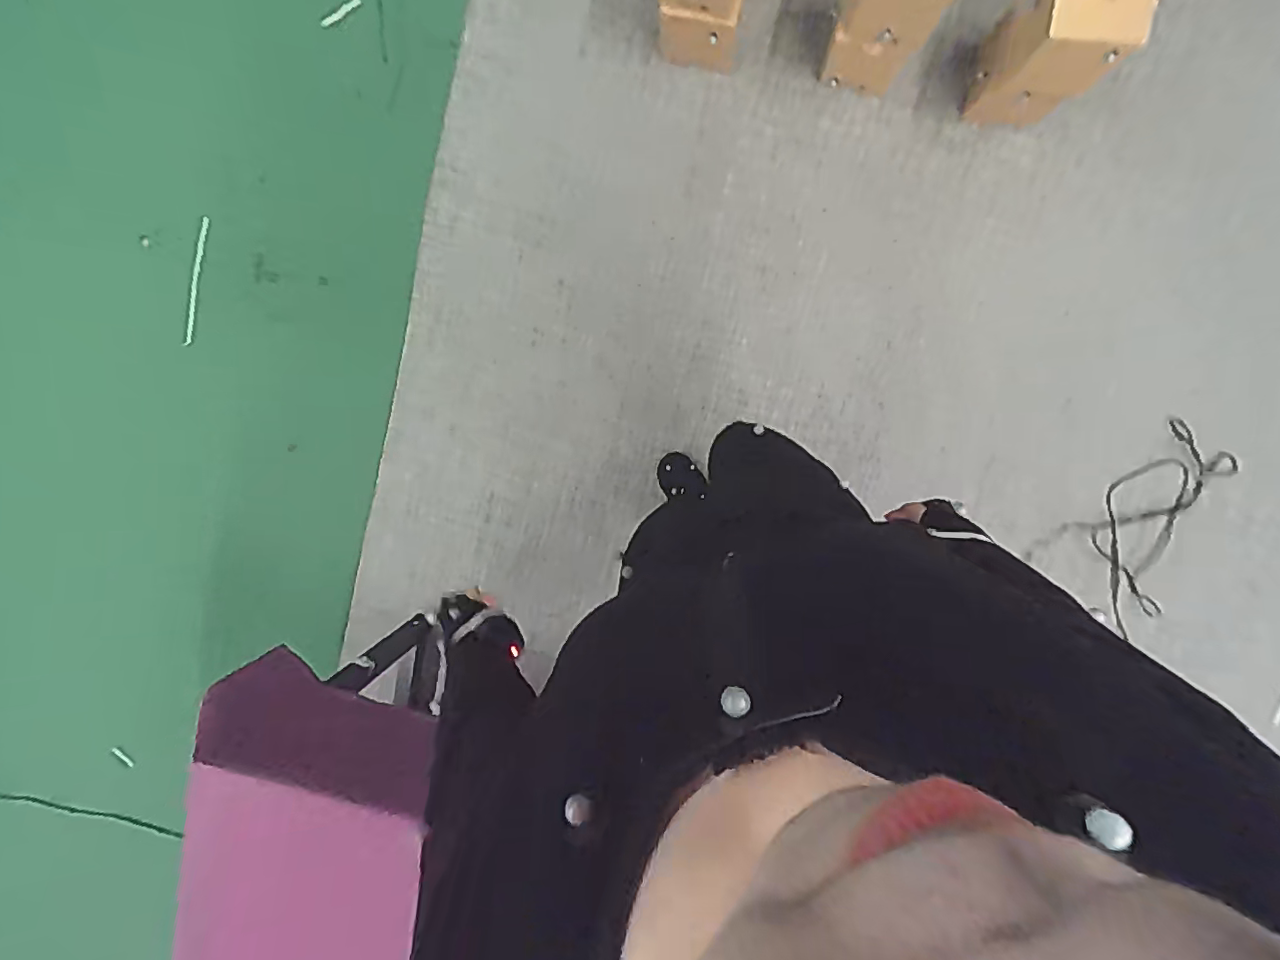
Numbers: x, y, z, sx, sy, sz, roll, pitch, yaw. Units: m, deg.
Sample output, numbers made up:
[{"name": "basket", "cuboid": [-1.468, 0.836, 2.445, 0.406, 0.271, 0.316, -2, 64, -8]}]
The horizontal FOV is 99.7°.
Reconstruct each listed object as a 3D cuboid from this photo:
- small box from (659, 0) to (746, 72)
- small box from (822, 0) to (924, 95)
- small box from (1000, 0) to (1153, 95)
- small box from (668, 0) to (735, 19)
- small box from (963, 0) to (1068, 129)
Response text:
[{"name": "small box", "cuboid": [0.152, -1.111, 1.276, 0.179, 0.176, 0.168, 14, 98, 4]}, {"name": "small box", "cuboid": [0.532, -1.032, 1.243, 0.168, 0.176, 0.179, 15, 98, 4]}, {"name": "small box", "cuboid": [0.851, -0.892, 1.062, 0.179, 0.176, 0.168, 7, 98, 5]}, {"name": "small box", "cuboid": [0.137, -1.109, 1.112, 0.168, 0.176, 0.179, 18, 99, 3]}, {"name": "small box", "cuboid": [0.869, -0.928, 1.219, 0.179, 0.176, 0.168, 13, 99, 4]}]
